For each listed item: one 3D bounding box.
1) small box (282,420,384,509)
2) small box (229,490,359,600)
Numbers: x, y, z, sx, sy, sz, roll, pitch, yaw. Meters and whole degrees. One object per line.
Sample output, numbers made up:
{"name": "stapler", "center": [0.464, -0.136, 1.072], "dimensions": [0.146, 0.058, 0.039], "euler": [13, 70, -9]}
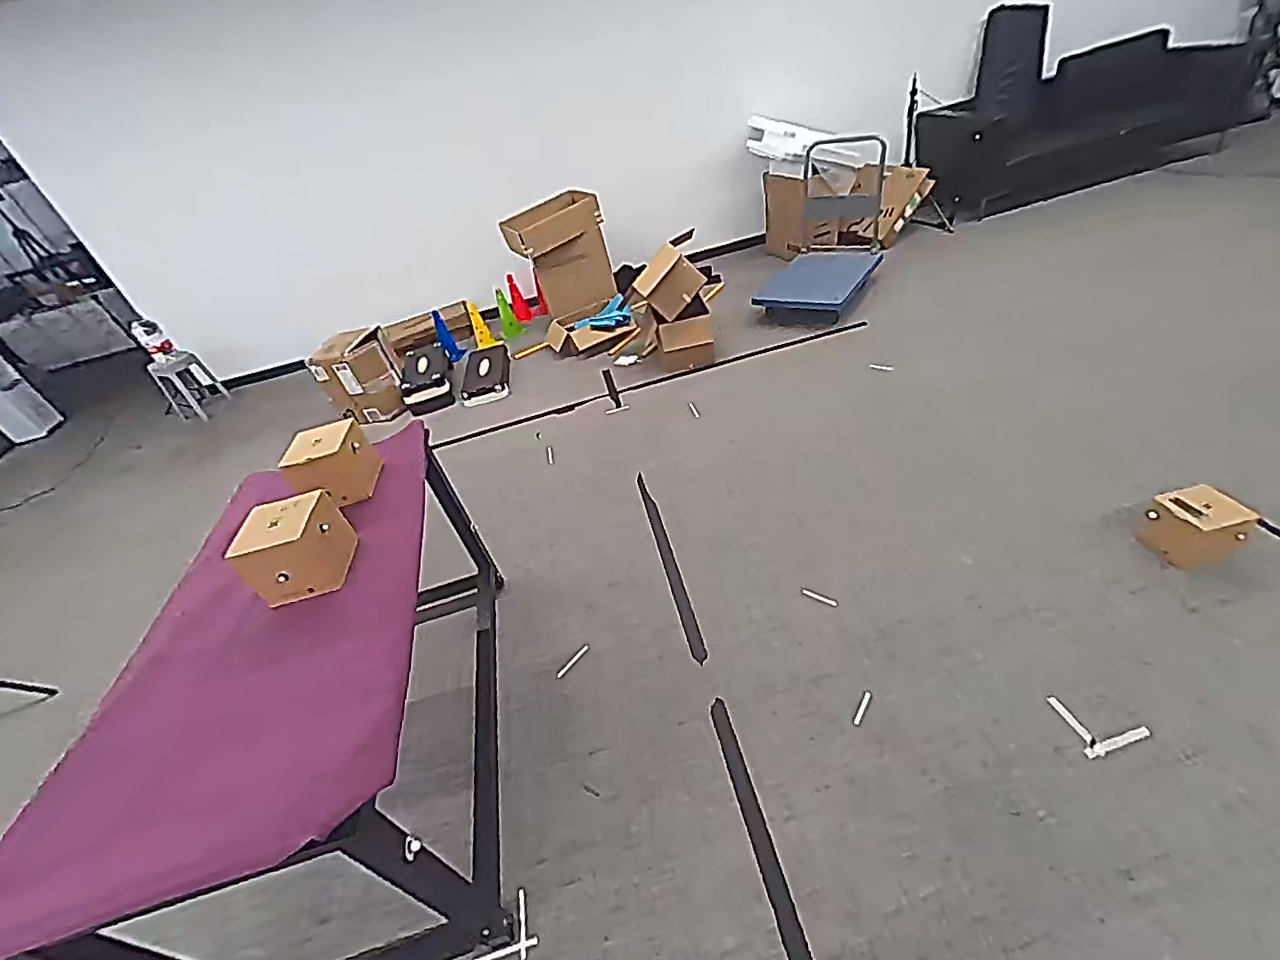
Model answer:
{"name": "small box", "center": [-0.845, -0.039, 1.511], "dimensions": [0.168, 0.176, 0.179], "euler": [-16, 38, 0]}
{"name": "small box", "center": [-0.780, 0.156, 1.244], "dimensions": [0.168, 0.176, 0.179], "euler": [-15, 37, -1]}
